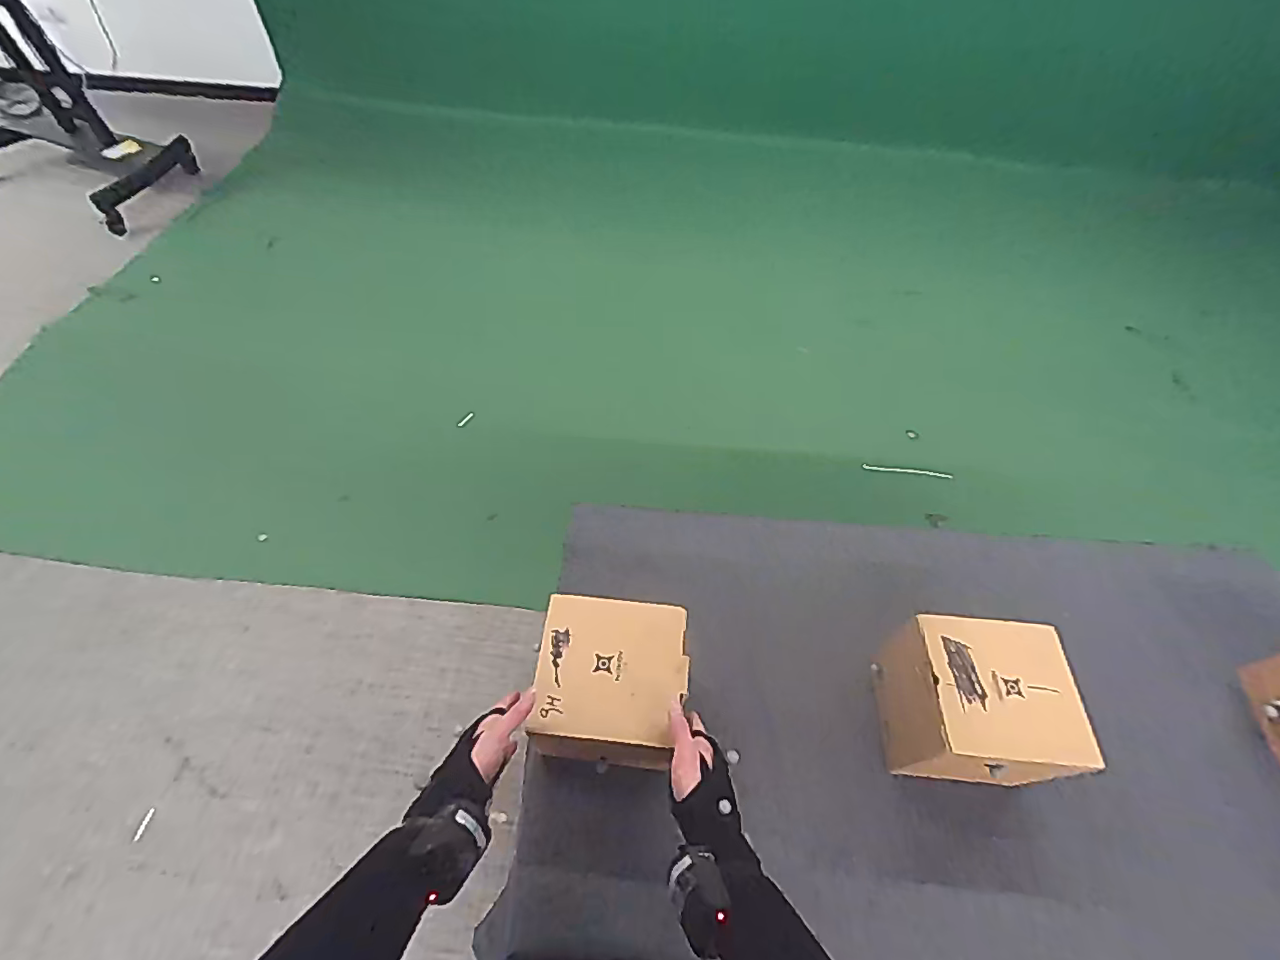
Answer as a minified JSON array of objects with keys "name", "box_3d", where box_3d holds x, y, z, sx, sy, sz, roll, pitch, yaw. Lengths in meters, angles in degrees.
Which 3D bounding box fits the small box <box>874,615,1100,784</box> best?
[{"name":"small box","box_3d":[0.425,0.290,0.705,0.179,0.176,0.168,6,56,0]}]

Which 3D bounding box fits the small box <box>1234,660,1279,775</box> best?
[{"name":"small box","box_3d":[0.975,0.319,0.708,0.179,0.176,0.168,5,54,3]}]

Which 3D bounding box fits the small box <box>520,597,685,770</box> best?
[{"name":"small box","box_3d":[-0.042,0.269,0.700,0.179,0.176,0.168,6,55,1]}]
